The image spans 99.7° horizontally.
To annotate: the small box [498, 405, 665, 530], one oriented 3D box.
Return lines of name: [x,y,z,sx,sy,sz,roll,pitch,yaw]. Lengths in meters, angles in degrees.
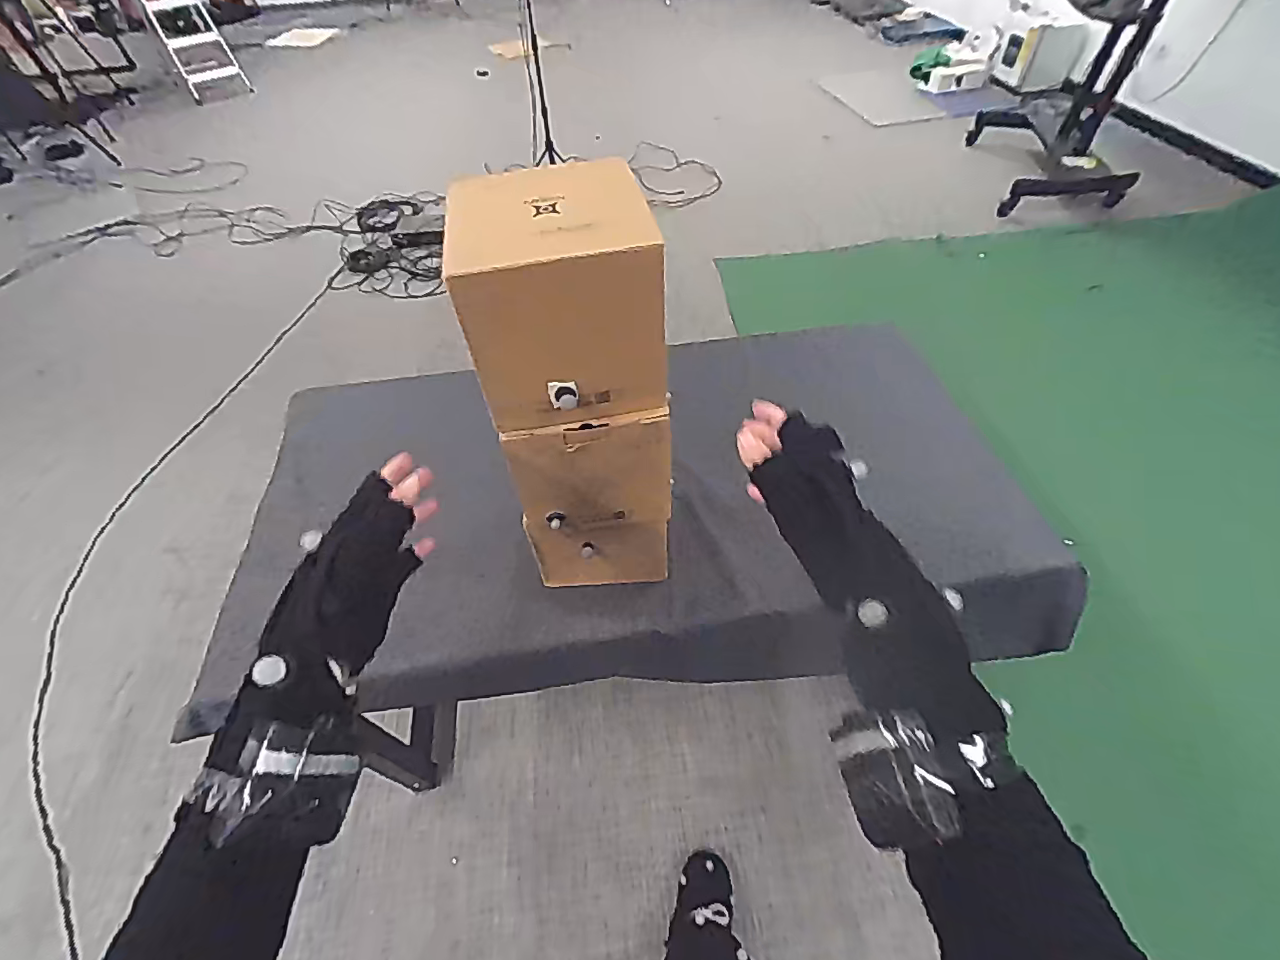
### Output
small box: [-0.067,-0.056,0.638,0.168,0.176,0.179,-10,52,-5]

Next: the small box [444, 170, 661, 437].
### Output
small box: [-0.078,-0.168,0.521,0.168,0.176,0.179,-11,51,-5]

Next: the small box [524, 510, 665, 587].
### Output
small box: [-0.060,0.039,0.775,0.179,0.176,0.168,-5,49,-2]
